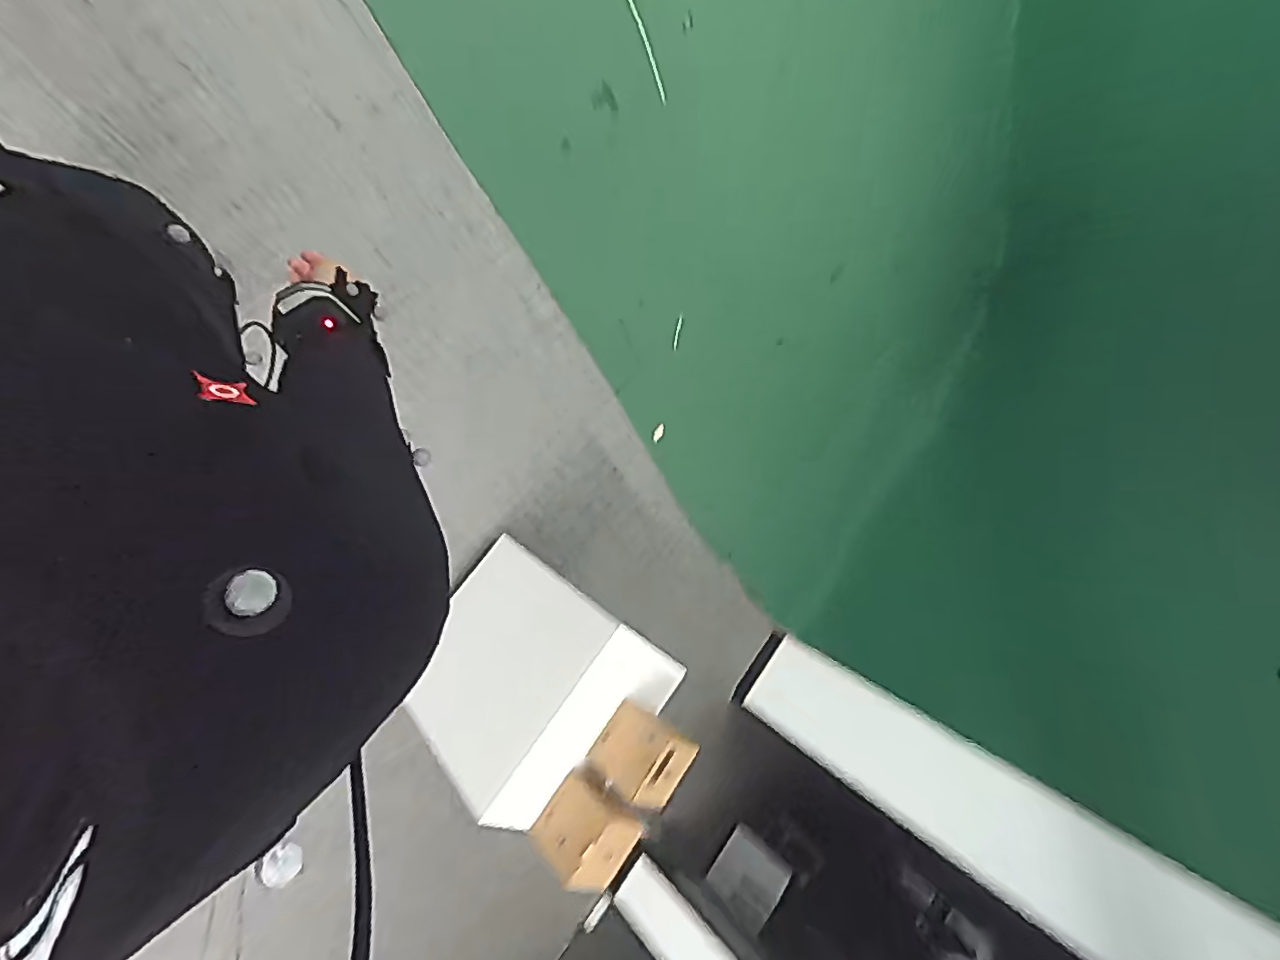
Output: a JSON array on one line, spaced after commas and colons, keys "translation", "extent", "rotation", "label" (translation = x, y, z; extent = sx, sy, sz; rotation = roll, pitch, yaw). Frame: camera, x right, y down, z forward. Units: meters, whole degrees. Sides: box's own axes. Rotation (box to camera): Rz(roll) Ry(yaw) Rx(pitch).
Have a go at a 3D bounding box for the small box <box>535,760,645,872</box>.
[{"translation": [-0.125, 0.824, 1.333], "extent": [0.168, 0.176, 0.179], "rotation": [-53, 138, -12], "label": "small box"}]
